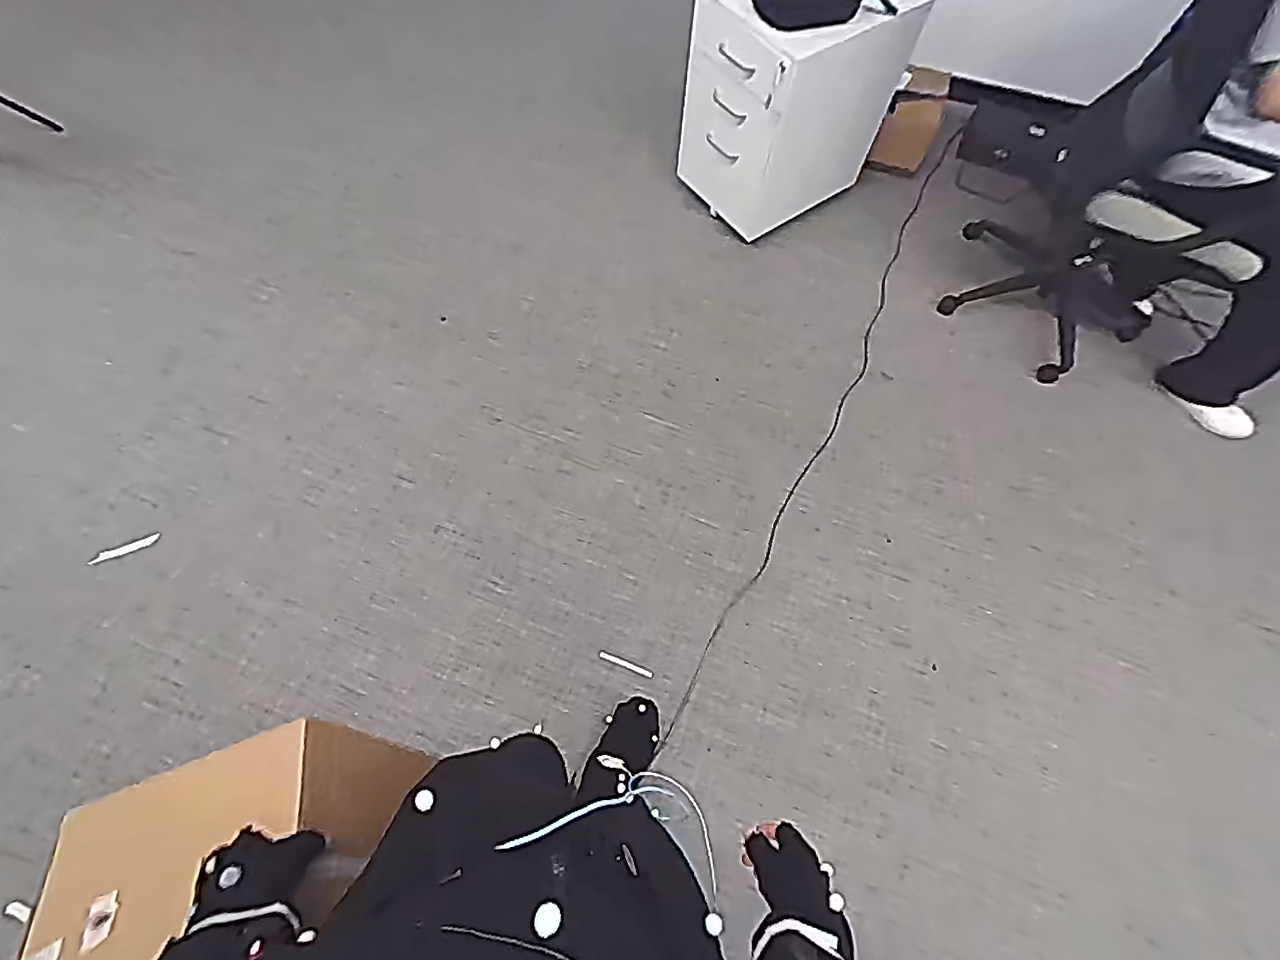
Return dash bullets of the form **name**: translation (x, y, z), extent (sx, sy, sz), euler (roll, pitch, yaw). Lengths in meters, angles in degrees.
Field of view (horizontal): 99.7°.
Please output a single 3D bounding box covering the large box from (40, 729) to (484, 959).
- **large box**: translation (-0.452, 0.573, 0.719), extent (0.320, 0.408, 0.320), euler (-20, 54, 0)
